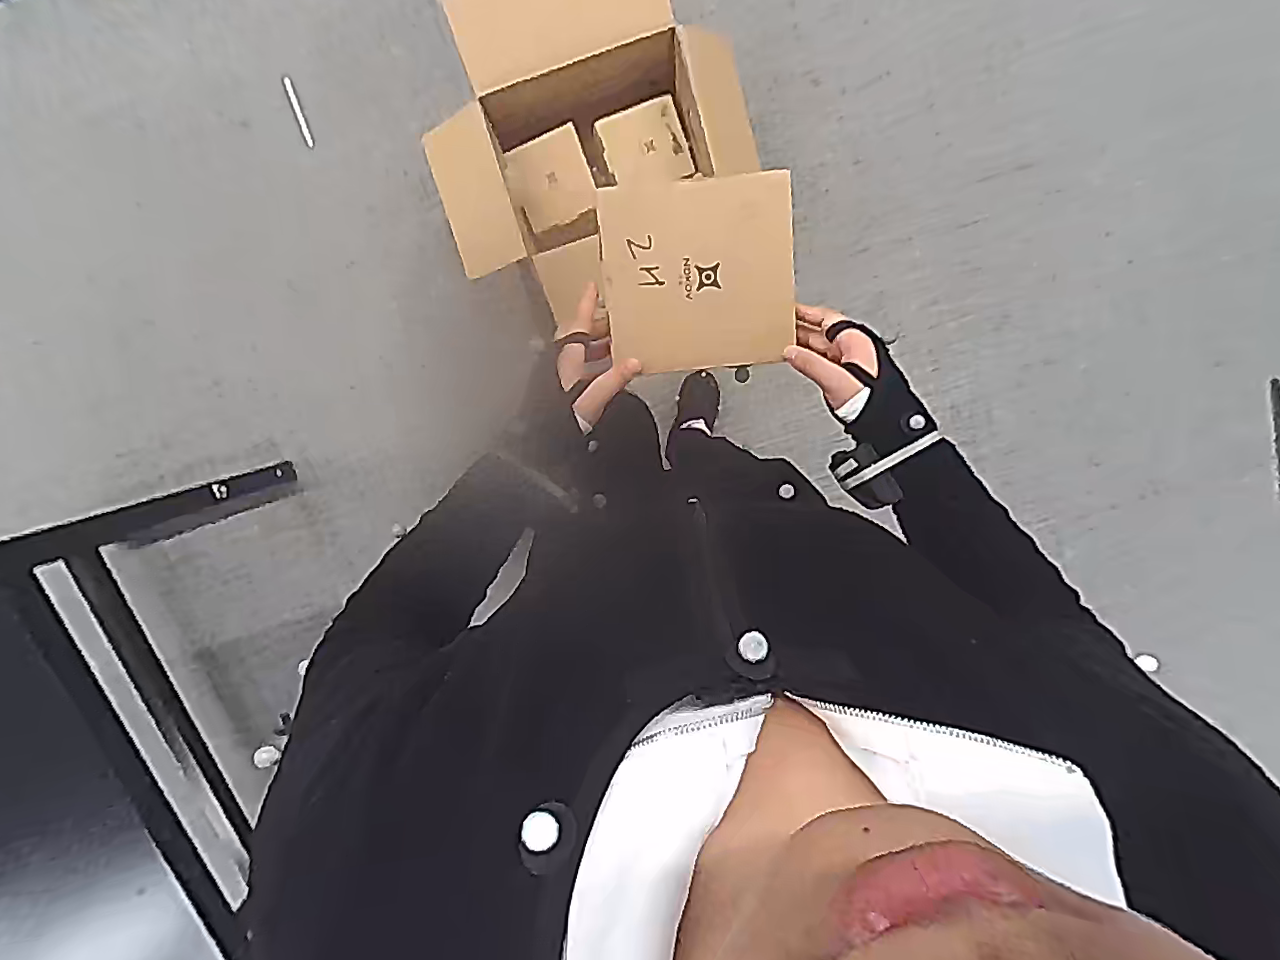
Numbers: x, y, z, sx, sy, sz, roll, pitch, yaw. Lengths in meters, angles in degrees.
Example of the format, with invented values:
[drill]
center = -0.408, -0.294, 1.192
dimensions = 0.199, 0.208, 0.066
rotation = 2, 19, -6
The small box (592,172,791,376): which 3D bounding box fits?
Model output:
[small box]
center = 0.049, -0.205, 0.574
dimensions = 0.179, 0.176, 0.168
rotation = -6, 103, 2
